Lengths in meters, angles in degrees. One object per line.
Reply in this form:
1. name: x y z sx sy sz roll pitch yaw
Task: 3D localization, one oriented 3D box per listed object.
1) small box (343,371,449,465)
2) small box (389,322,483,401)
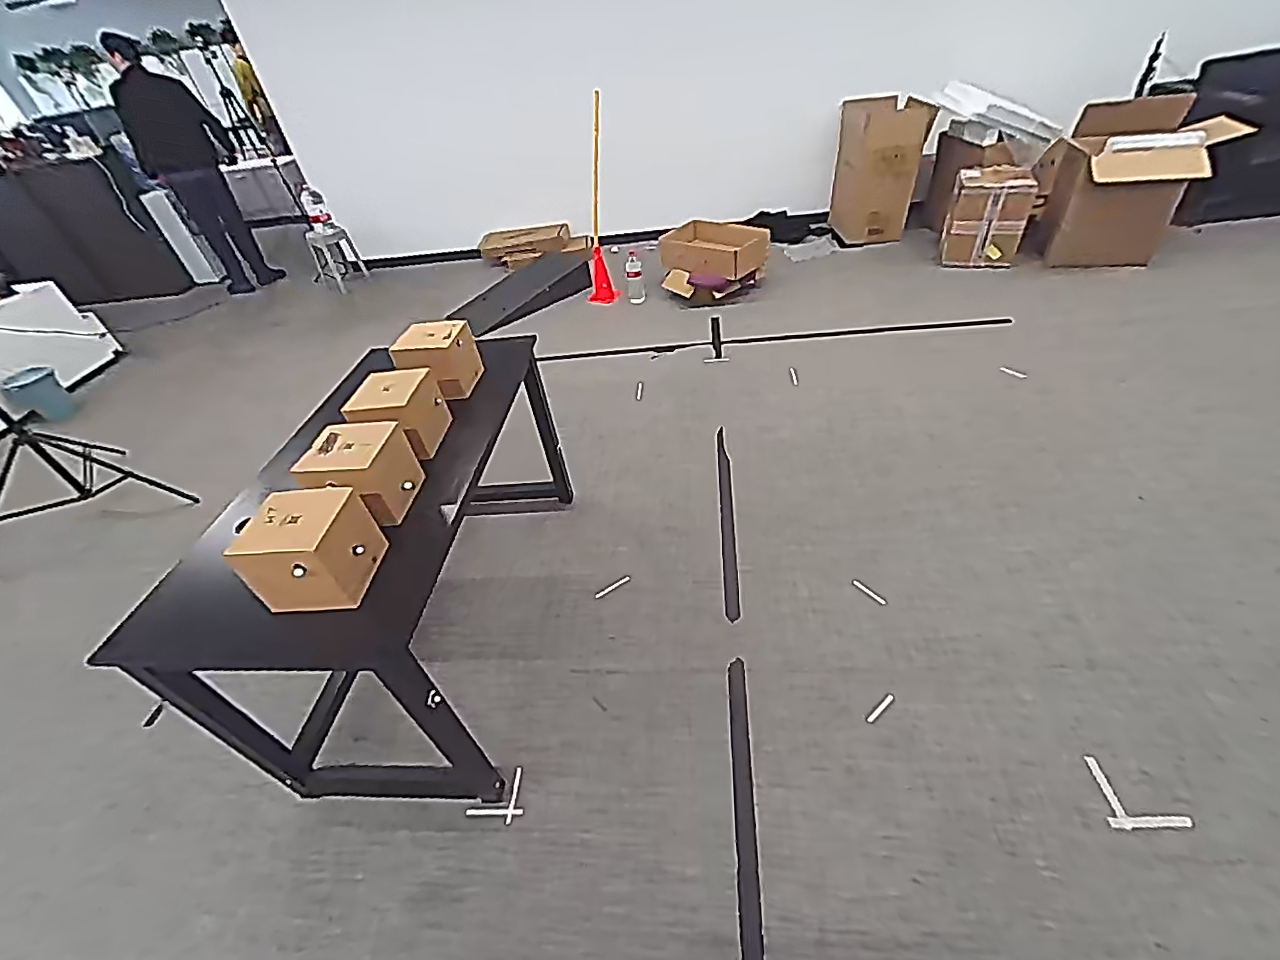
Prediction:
1. small box: -0.611 -0.158 1.385 0.168 0.176 0.179 -5 42 7
2. small box: -0.589 -0.342 1.586 0.179 0.176 0.168 -3 42 9
